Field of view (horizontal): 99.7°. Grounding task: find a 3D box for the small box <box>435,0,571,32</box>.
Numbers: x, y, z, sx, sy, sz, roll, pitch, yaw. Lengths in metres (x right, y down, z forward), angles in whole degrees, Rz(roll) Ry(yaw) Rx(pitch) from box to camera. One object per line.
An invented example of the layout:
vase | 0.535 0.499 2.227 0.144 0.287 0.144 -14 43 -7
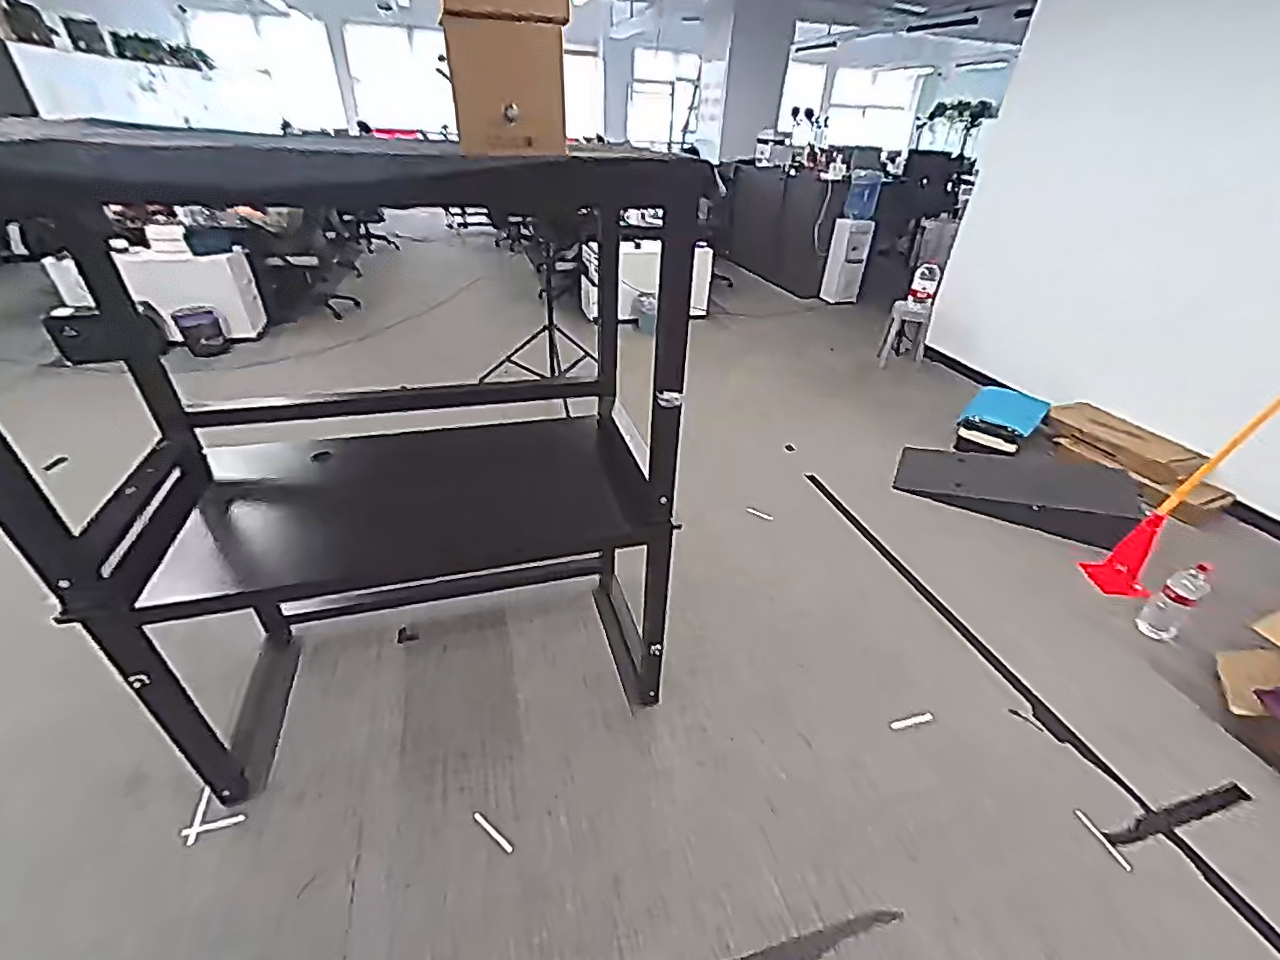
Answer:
small box | -0.202 -0.742 0.761 0.179 0.176 0.168 -9 34 -18

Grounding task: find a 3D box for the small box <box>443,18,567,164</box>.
small box | -0.212 -0.608 0.861 0.168 0.176 0.179 -8 34 -13
